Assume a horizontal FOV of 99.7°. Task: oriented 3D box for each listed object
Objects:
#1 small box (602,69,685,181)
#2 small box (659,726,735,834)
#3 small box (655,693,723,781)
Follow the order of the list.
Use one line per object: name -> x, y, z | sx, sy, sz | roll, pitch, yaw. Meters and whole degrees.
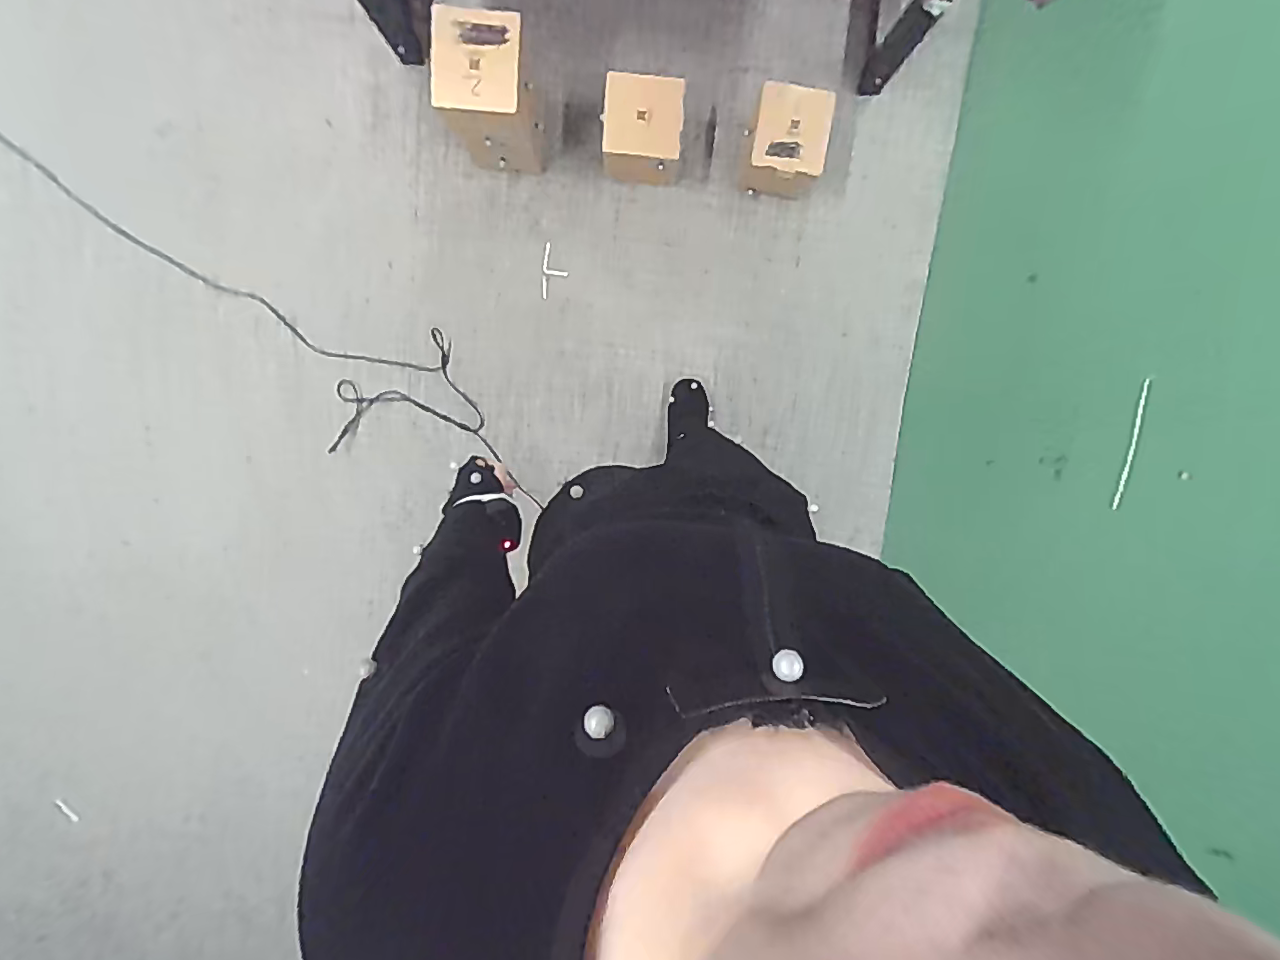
small box -> 0.007, -0.826, 1.276 | 0.179, 0.176, 0.168 | 4, 100, -1
small box -> 0.138, 0.755, 1.376 | 0.168, 0.176, 0.179 | 4, 100, 0
small box -> 0.134, 0.730, 1.538 | 0.168, 0.176, 0.179 | 5, 100, -1
